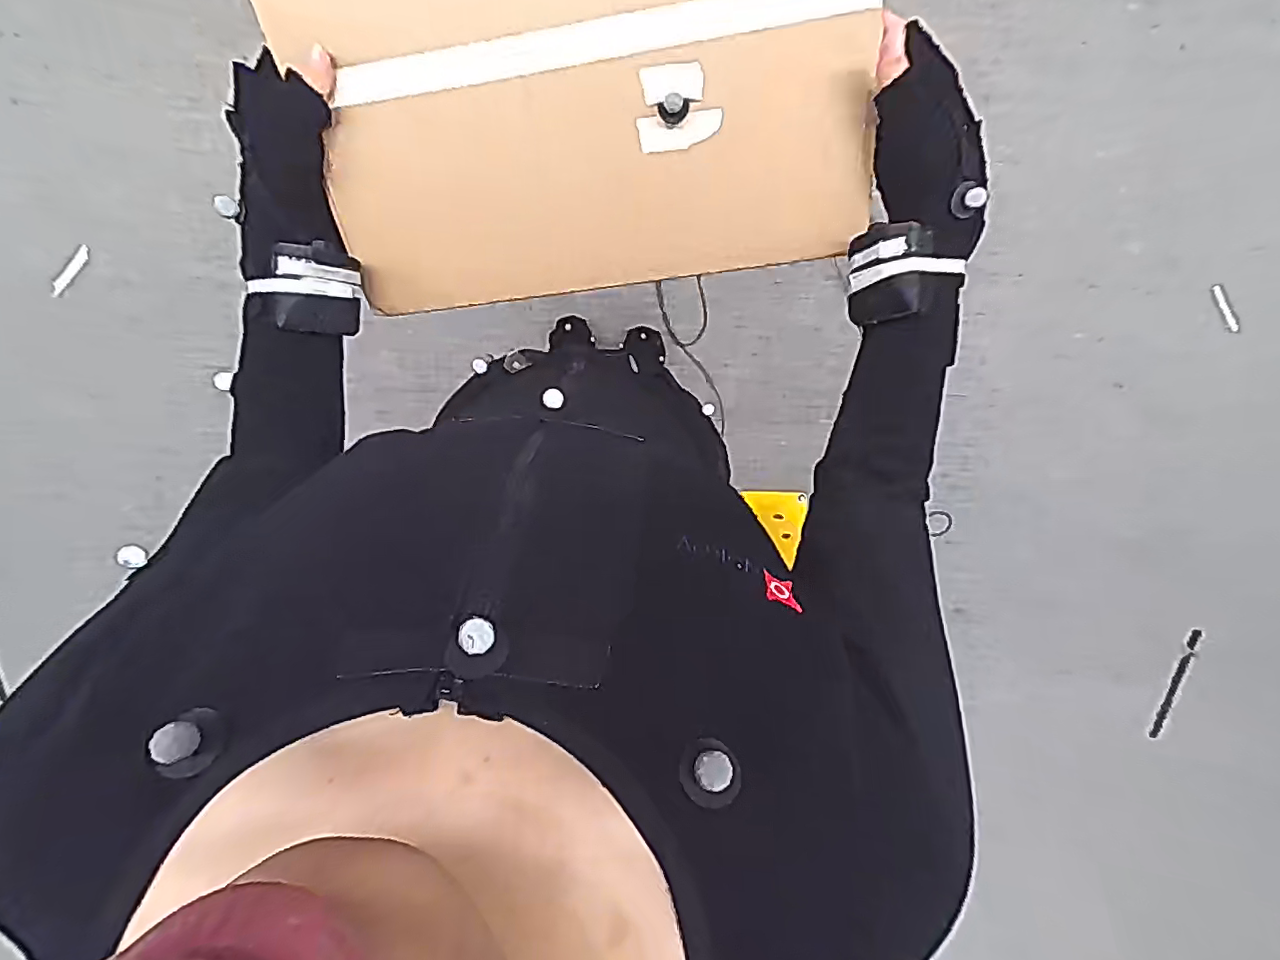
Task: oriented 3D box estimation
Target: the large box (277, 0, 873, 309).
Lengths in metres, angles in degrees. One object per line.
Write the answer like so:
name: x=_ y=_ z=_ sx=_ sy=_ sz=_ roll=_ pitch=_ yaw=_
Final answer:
large box: x=-0.040 y=-0.370 z=0.501 sx=0.408 sy=0.320 sz=0.320 roll=-6 pitch=119 yaw=5
